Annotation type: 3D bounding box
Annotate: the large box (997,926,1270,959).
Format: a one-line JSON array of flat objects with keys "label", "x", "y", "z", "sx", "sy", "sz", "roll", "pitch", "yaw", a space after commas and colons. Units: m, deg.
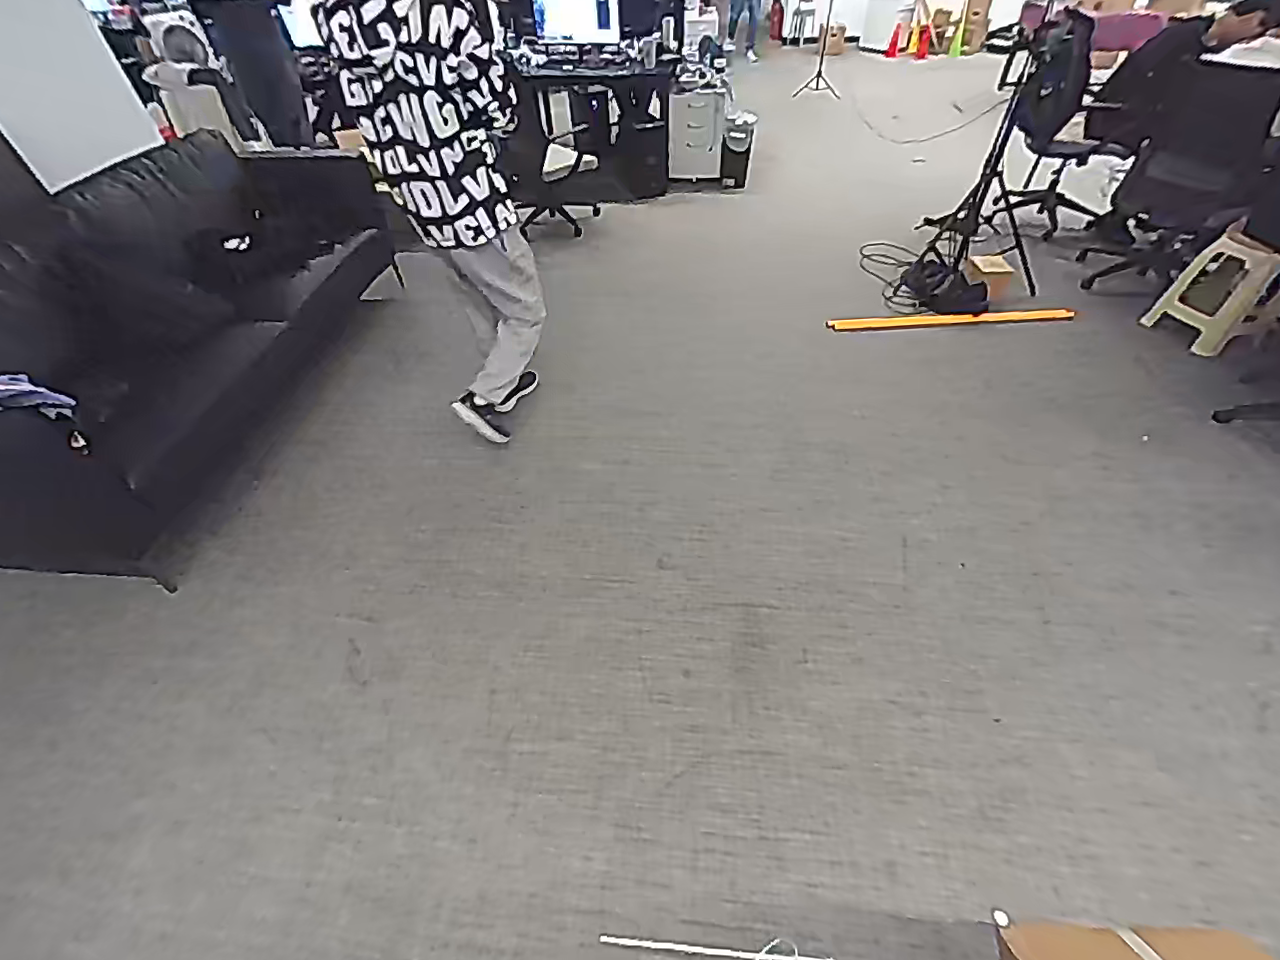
[{"label": "large box", "x": 0.633, "y": 0.747, "z": 0.527, "sx": 0.320, "sy": 0.408, "sz": 0.320, "roll": -3, "pitch": 84, "yaw": 7}]
